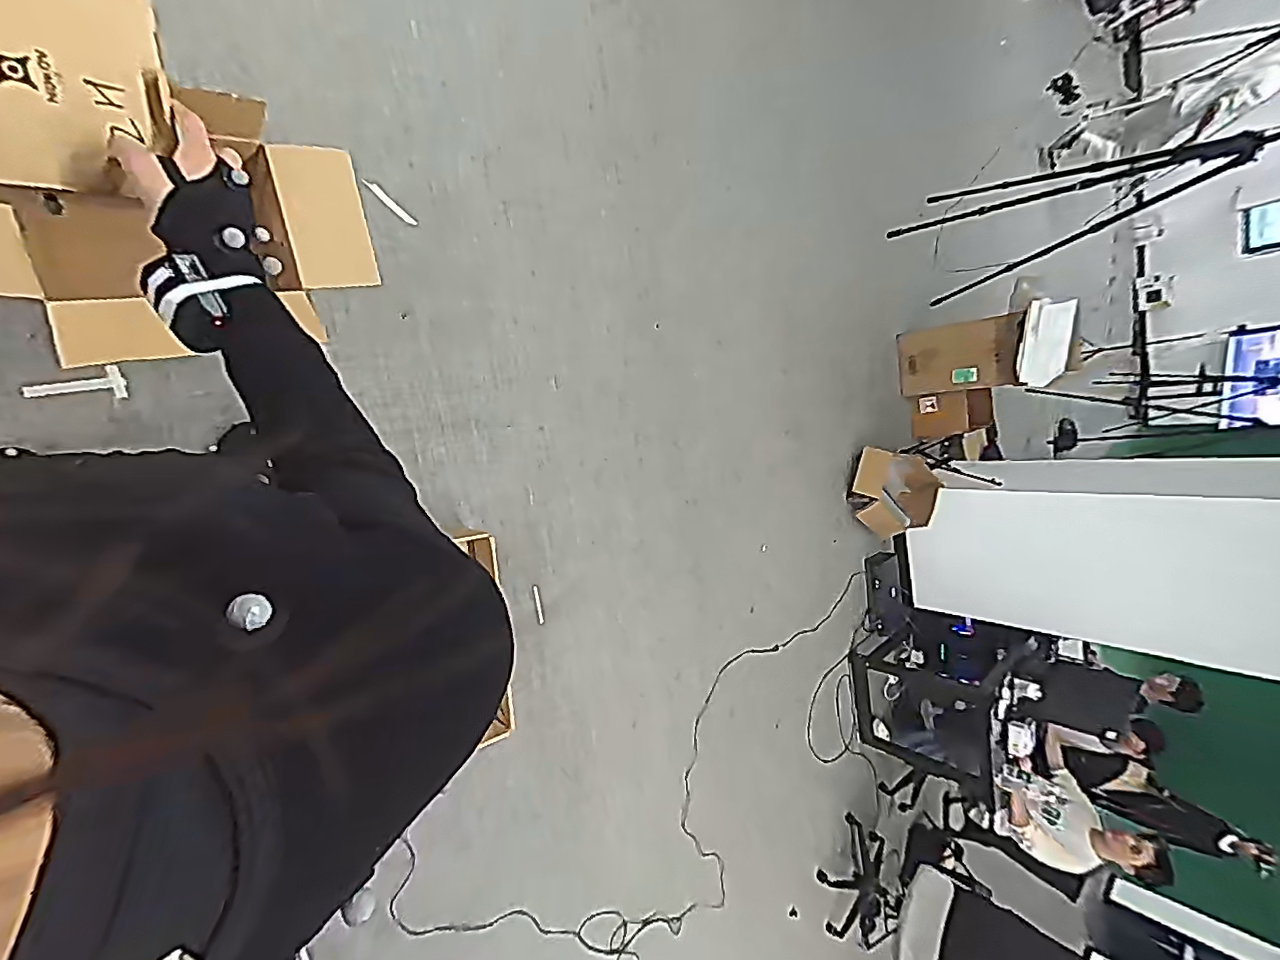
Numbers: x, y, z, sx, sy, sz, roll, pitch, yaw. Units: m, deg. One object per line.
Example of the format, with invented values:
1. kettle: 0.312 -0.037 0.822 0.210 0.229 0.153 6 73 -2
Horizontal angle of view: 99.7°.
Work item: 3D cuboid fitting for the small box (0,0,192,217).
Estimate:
1. small box: -0.530 -0.338 0.482 0.179 0.176 0.168 -14 114 -40
